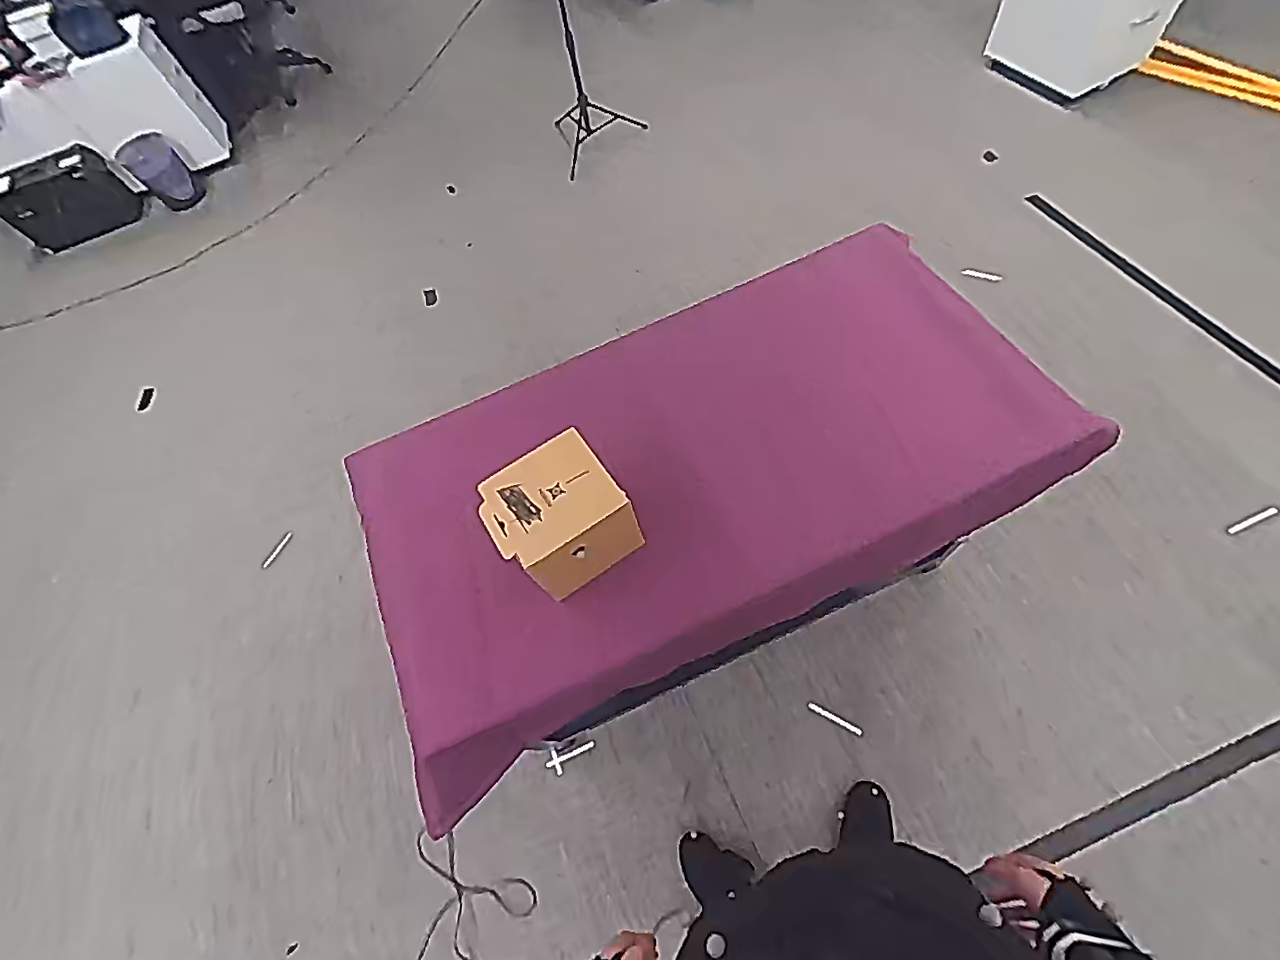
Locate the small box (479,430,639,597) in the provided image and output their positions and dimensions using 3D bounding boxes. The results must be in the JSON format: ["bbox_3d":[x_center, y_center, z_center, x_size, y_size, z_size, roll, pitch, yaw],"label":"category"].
[{"bbox_3d":[-0.120,0.060,0.863,0.179,0.176,0.168,-33,63,-9],"label":"small box"}]
